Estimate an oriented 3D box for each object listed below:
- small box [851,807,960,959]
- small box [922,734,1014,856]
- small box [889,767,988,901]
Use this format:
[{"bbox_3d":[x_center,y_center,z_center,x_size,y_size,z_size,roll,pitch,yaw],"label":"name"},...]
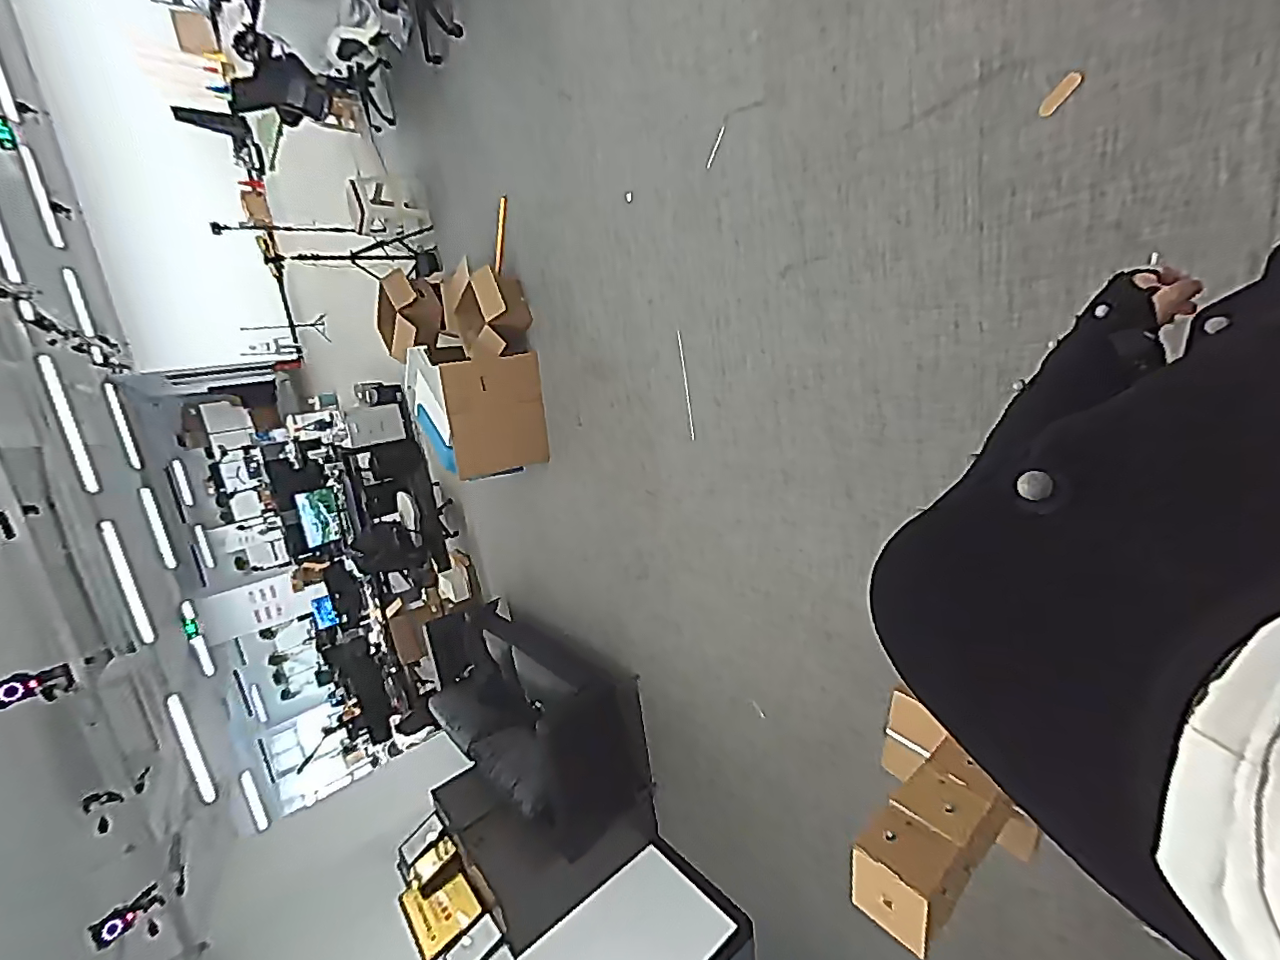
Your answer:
[{"bbox_3d":[0.594,0.887,1.211,0.168,0.176,0.179,15,116,50],"label":"small box"},{"bbox_3d":[0.845,0.804,1.403,0.168,0.176,0.179,16,116,49],"label":"small box"},{"bbox_3d":[0.718,0.842,1.308,0.168,0.176,0.179,15,116,48],"label":"small box"}]
